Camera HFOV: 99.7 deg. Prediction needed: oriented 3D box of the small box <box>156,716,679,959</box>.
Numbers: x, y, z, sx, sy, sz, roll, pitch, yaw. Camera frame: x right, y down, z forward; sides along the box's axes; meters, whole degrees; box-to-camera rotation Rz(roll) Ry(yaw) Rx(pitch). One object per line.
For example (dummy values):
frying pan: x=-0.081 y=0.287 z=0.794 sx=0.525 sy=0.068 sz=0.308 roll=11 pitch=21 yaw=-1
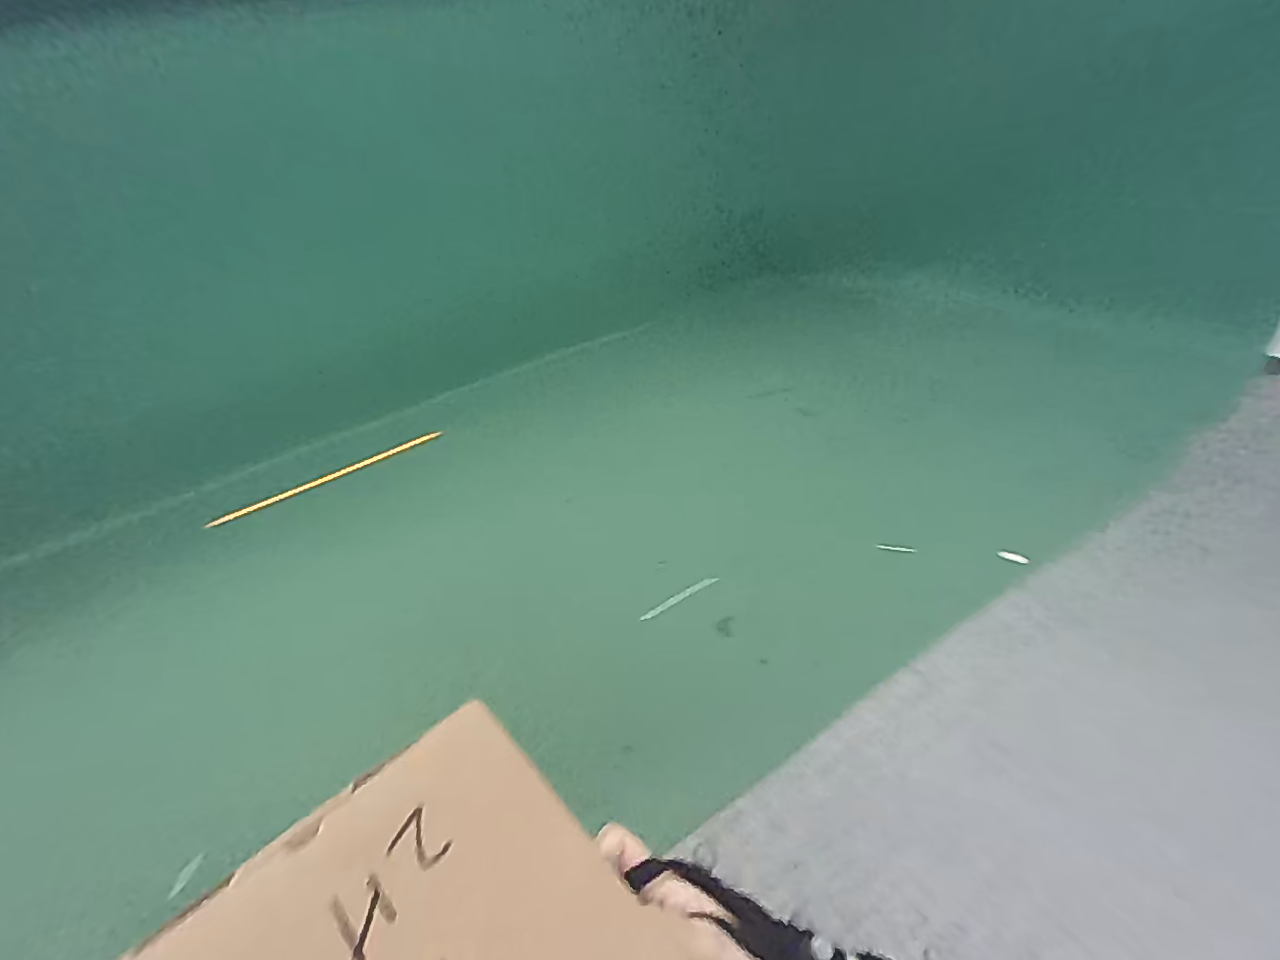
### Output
small box: x=-0.090 y=0.254 z=0.244 sx=0.179 sy=0.176 sz=0.168 roll=42 pitch=47 yaw=22
